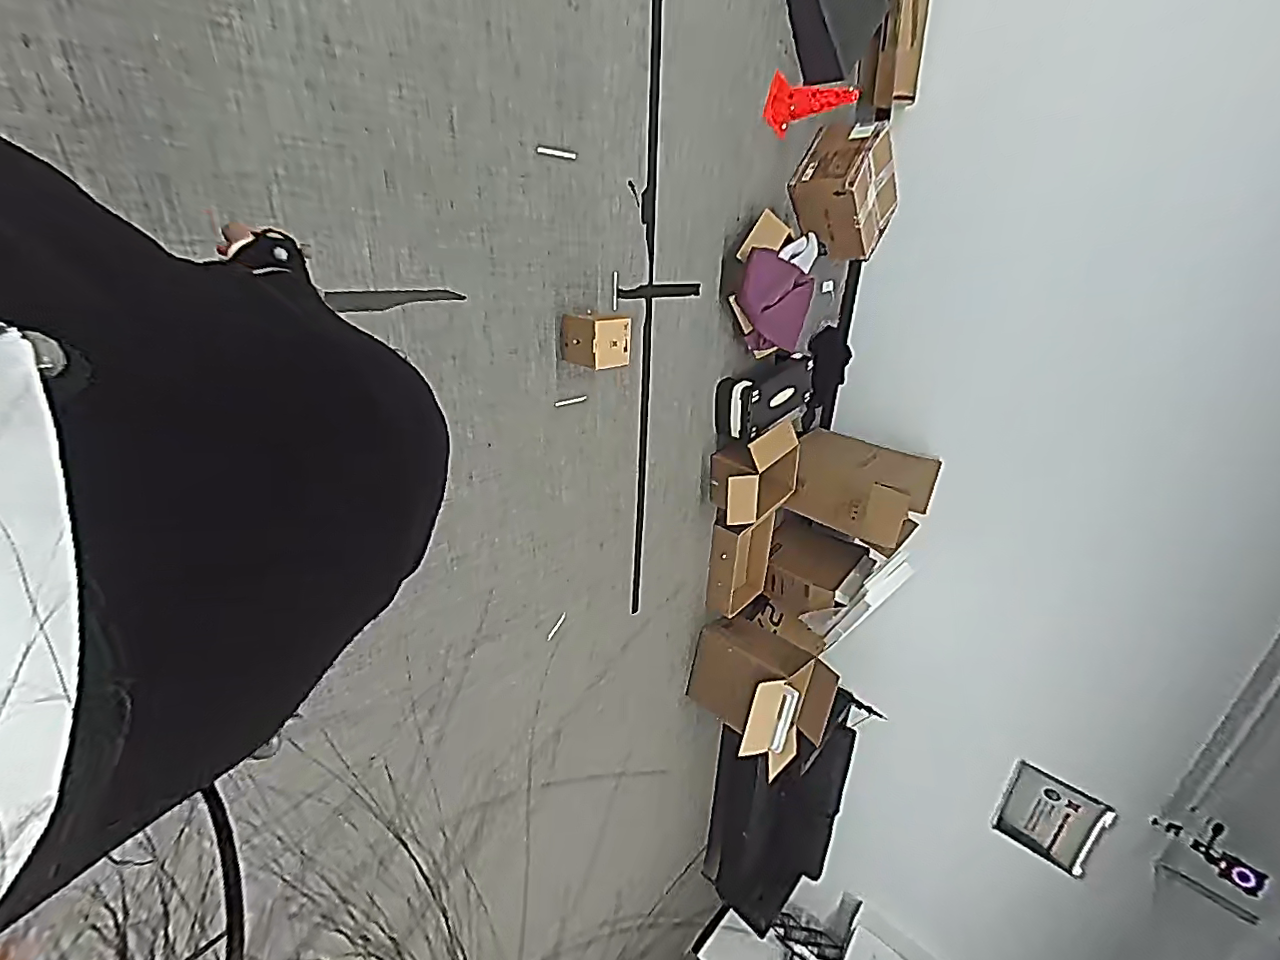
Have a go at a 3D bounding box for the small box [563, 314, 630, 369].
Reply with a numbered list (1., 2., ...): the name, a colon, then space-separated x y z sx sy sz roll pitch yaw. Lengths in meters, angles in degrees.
1. small box: -0.159 -0.496 1.920 0.179 0.176 0.168 -20 123 -43
